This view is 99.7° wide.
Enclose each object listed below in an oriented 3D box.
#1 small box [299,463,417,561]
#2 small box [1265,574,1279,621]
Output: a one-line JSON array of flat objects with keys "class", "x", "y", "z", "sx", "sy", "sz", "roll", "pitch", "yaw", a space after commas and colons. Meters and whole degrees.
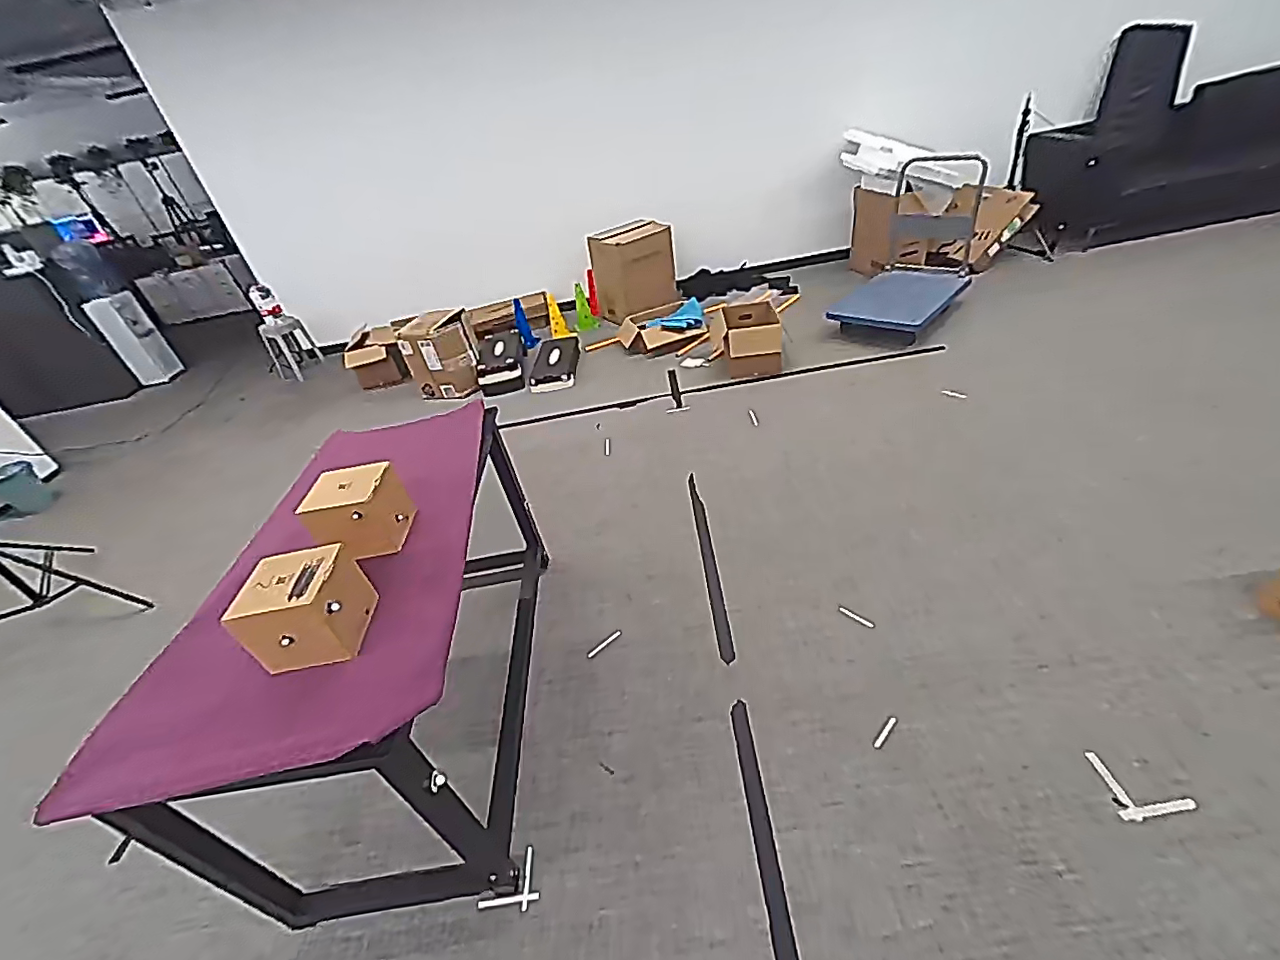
[{"class": "small box", "x": -0.688, "y": 0.082, "z": 1.340, "sx": 0.179, "sy": 0.176, "sz": 0.168, "roll": -10, "pitch": 36, "yaw": 2}, {"class": "small box", "x": 1.913, "y": 0.347, "z": 1.495, "sx": 0.179, "sy": 0.176, "sz": 0.168, "roll": -8, "pitch": 36, "yaw": 5}]
